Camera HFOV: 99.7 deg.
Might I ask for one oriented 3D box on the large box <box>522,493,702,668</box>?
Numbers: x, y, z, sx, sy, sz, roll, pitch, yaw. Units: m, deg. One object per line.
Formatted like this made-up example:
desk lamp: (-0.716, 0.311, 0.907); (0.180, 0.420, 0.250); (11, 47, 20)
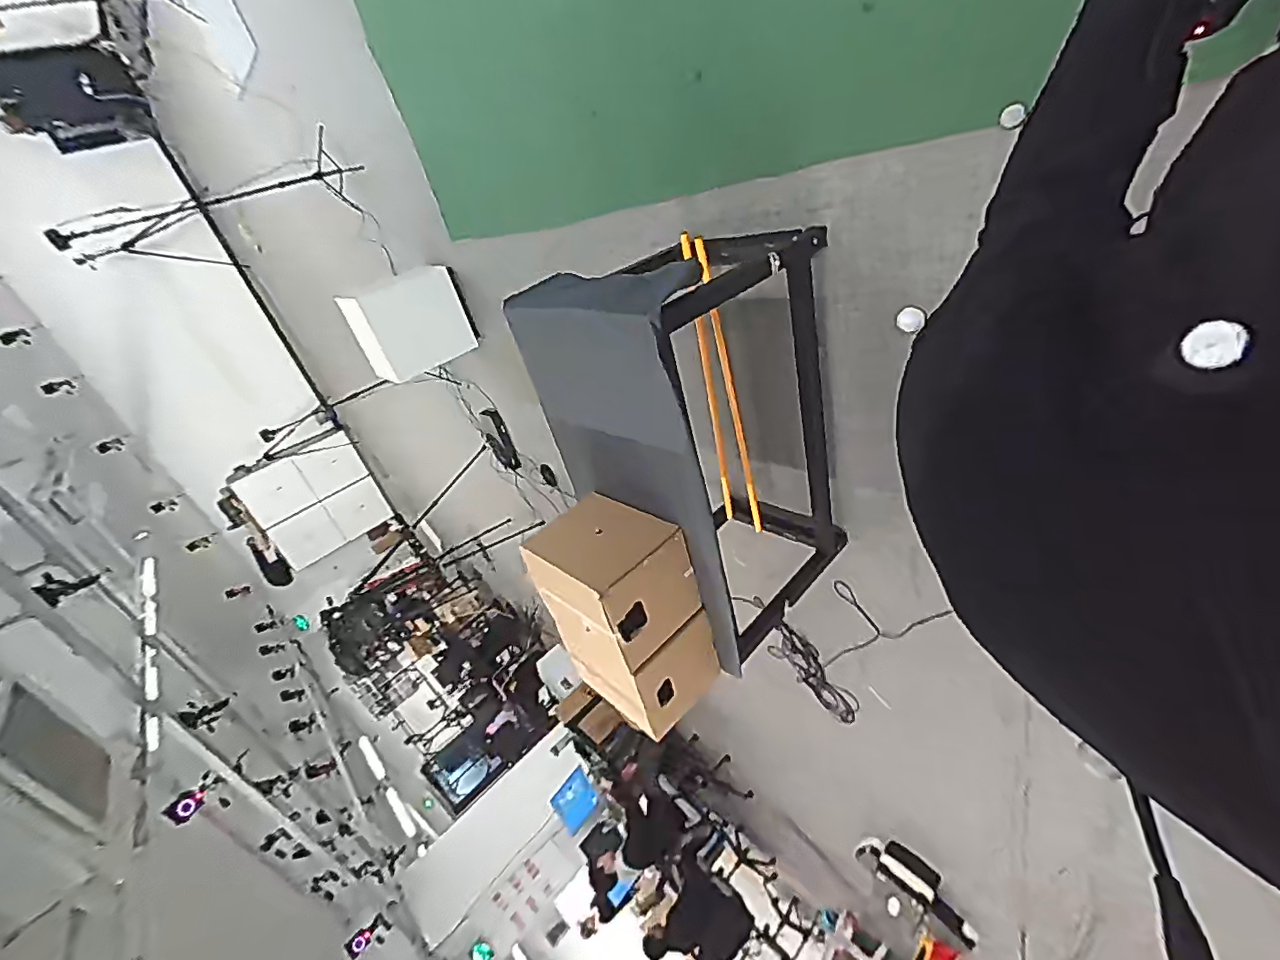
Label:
large box: (-0.082, 0.275, 1.622); (0.408, 0.320, 0.320); (17, 135, 45)
